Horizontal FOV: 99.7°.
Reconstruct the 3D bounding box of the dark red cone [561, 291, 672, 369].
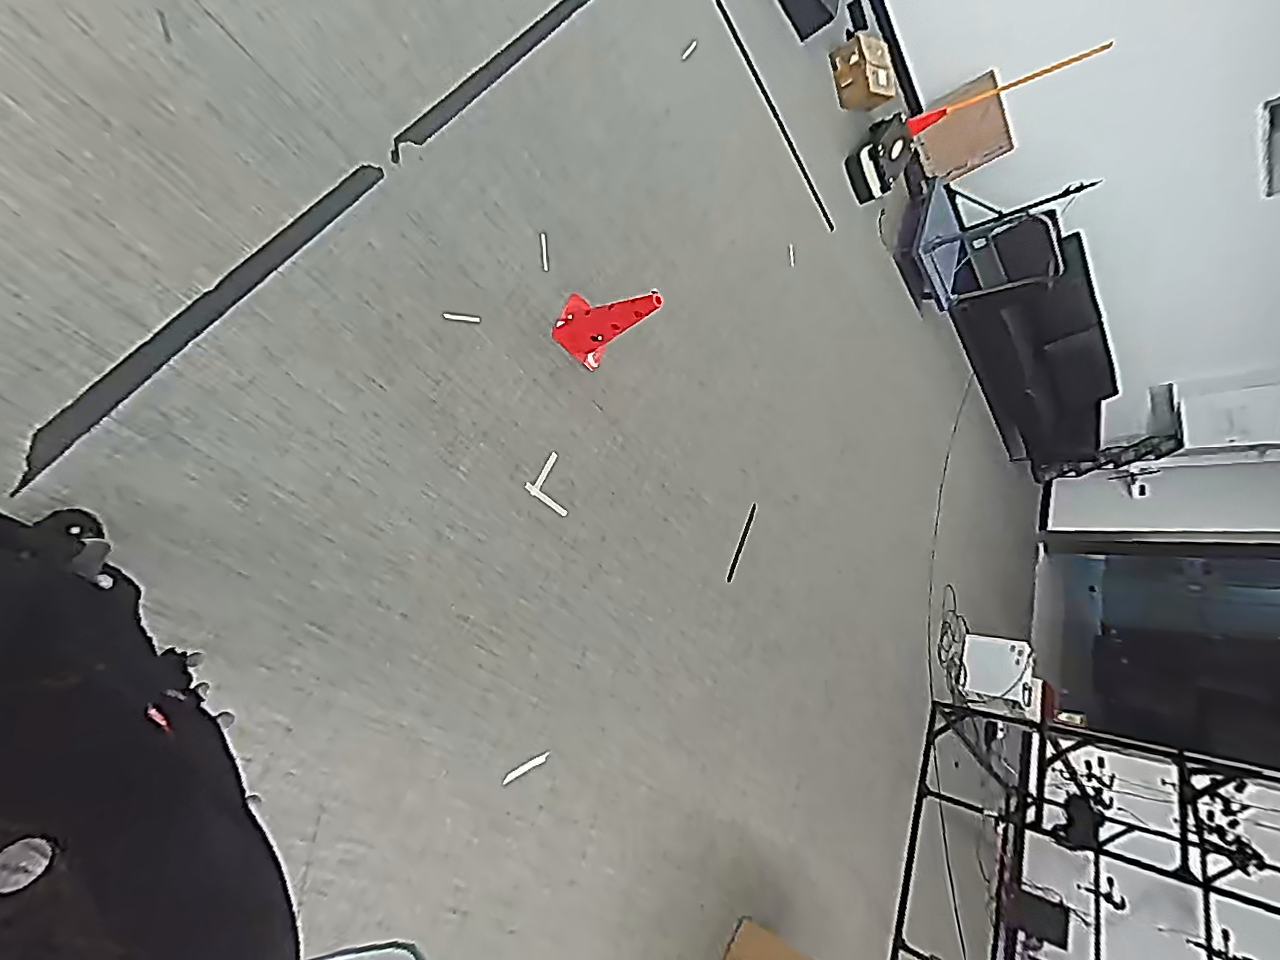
[{"bbox_3d":[-0.051,-0.503,1.662,0.201,0.394,0.202,36,63,-34],"label":"dark red cone"}]
